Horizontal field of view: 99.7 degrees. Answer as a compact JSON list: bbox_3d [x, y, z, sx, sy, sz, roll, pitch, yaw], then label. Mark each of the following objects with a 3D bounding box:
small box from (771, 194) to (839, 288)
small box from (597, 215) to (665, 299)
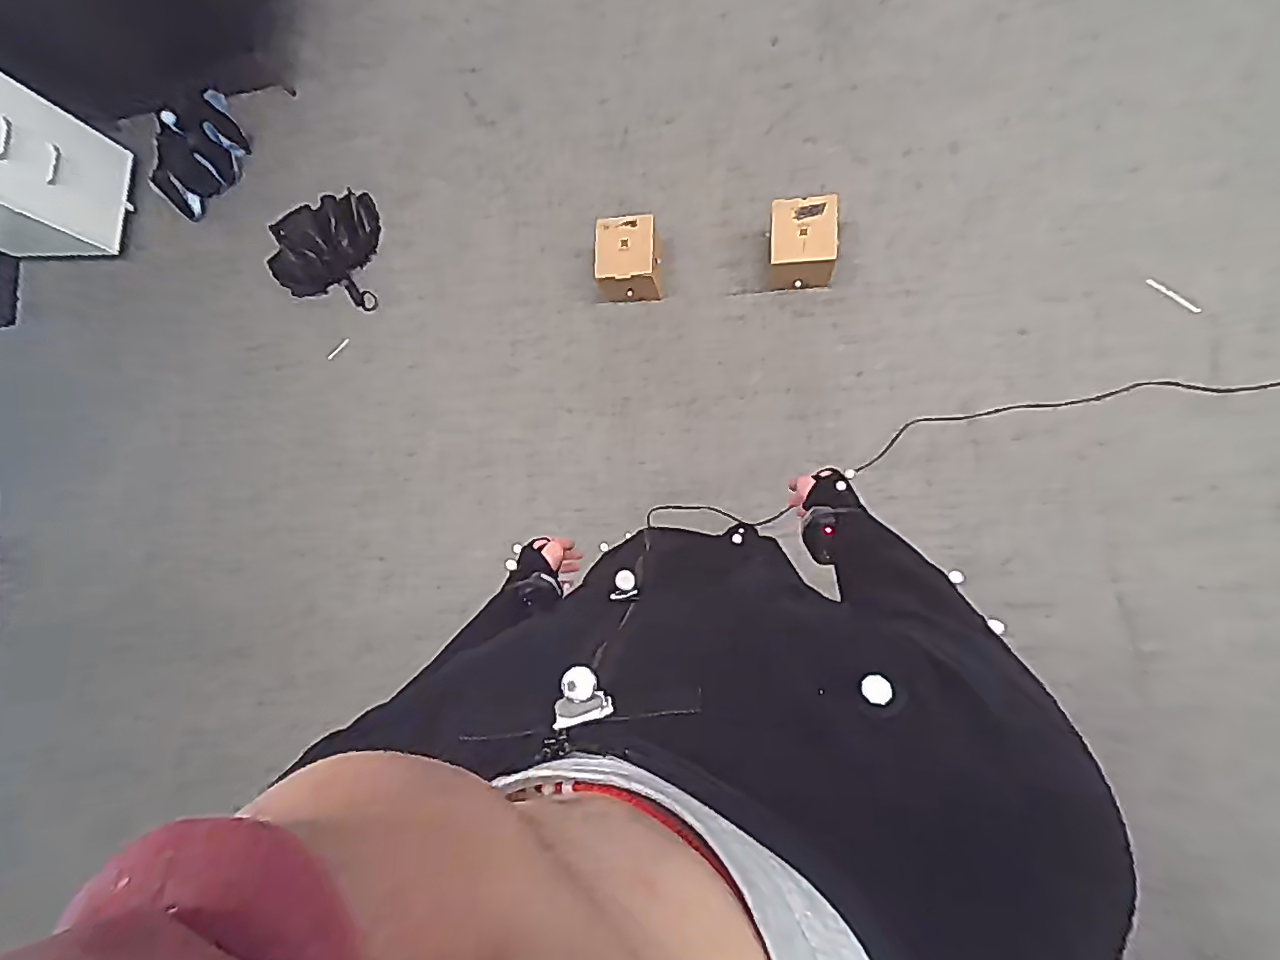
[{"bbox_3d":[0.445,-0.646,1.478,0.168,0.176,0.179,1,87,13],"label":"small box"},{"bbox_3d":[-0.021,-0.640,1.579,0.168,0.176,0.179,0,85,12],"label":"small box"}]
